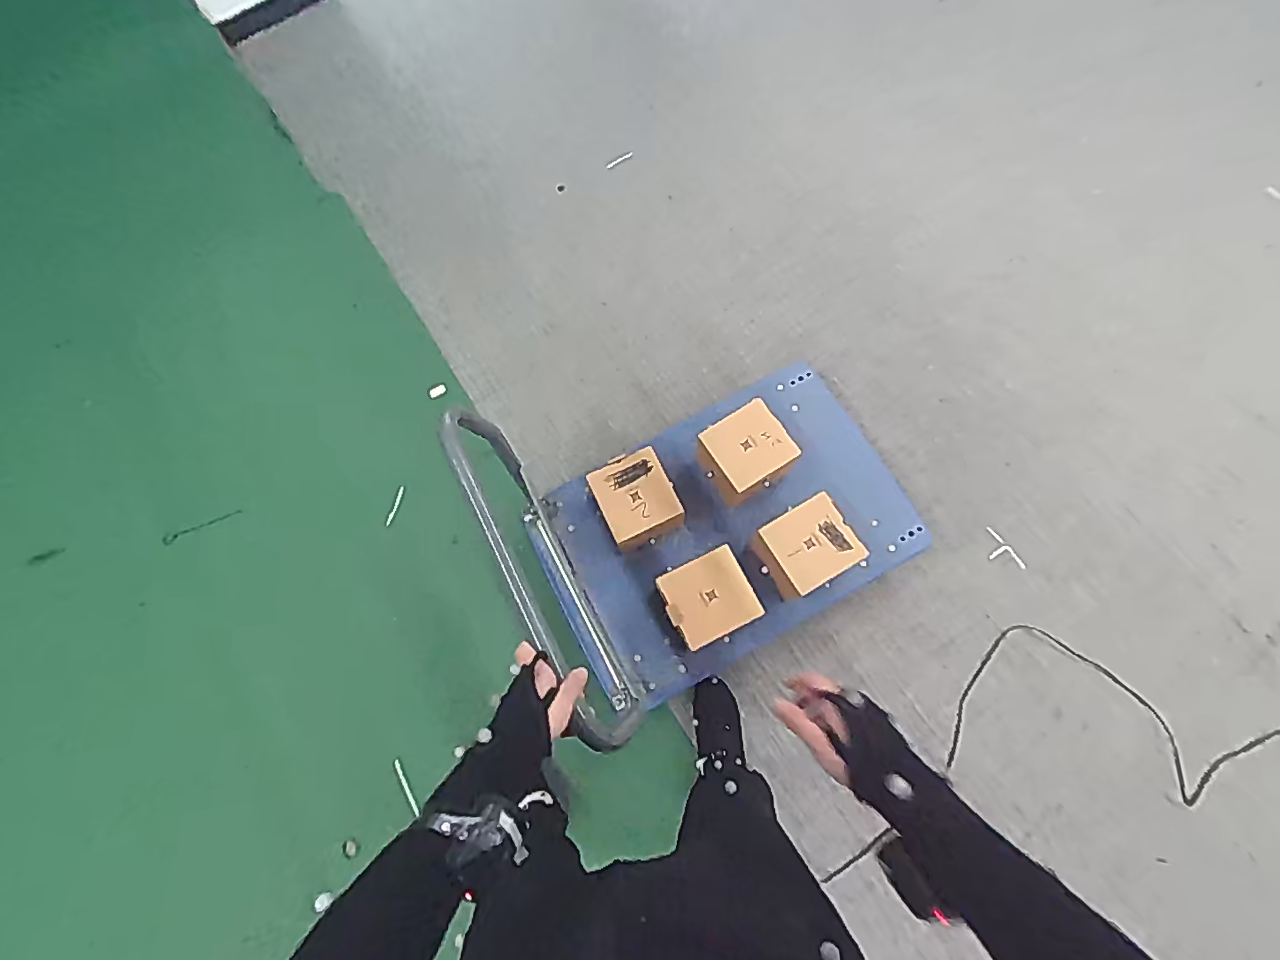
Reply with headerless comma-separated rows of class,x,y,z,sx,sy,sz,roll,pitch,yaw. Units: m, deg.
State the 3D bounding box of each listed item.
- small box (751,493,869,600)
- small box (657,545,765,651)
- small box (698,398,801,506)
small box,0.372,0.155,1.219,0.179,0.176,0.168,-30,73,-5
small box,0.150,0.264,1.201,0.179,0.176,0.168,-26,74,-4
small box,0.251,-0.059,1.289,0.179,0.176,0.168,-31,75,-6
